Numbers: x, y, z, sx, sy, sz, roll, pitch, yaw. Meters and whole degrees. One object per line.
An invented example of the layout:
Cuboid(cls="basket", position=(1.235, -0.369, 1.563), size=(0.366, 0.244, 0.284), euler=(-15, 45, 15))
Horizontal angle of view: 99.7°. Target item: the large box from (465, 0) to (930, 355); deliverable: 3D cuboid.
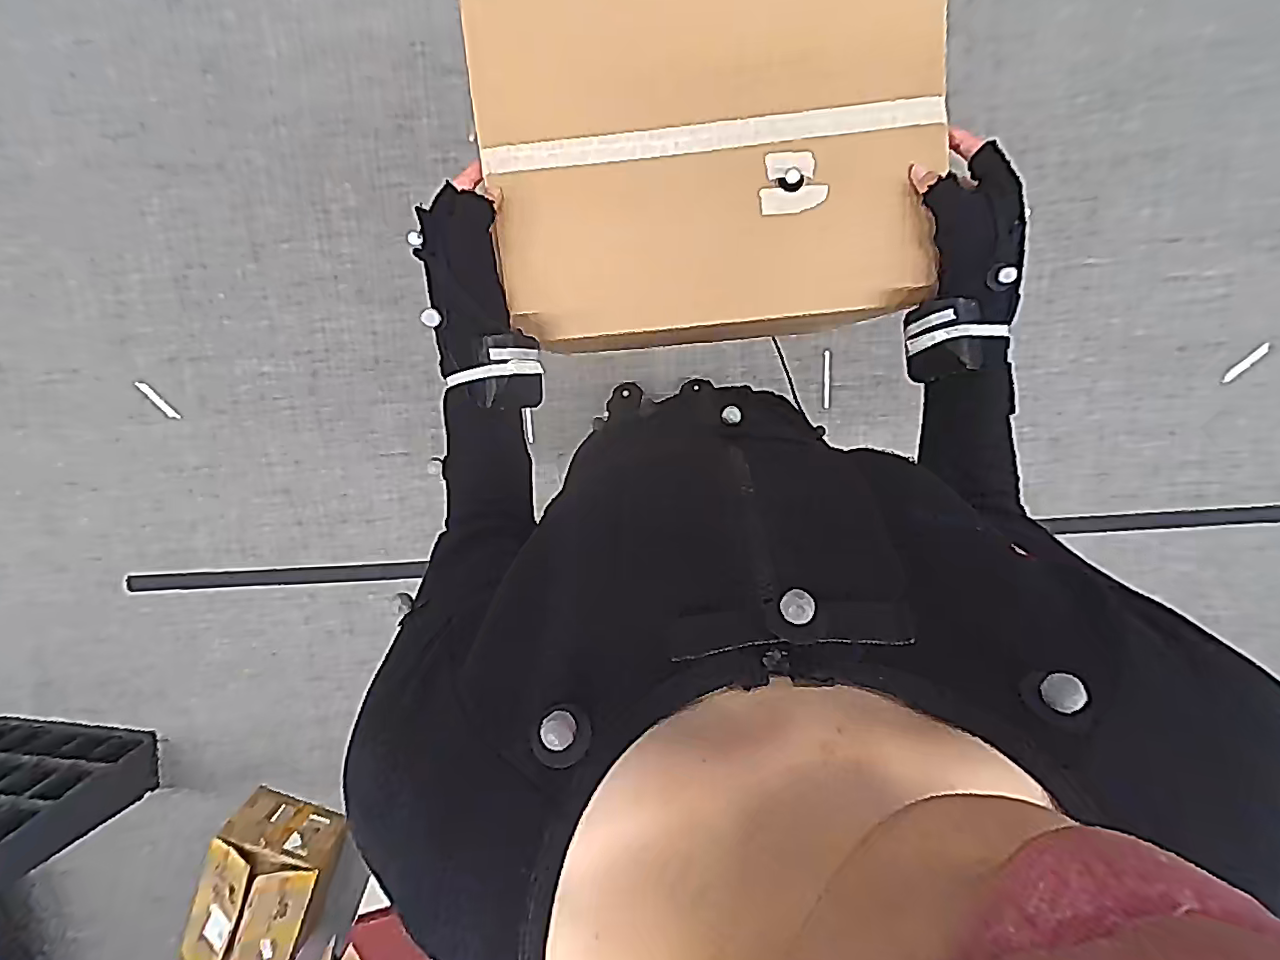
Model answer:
Cuboid(cls="large box", position=(0.059, -0.332, 0.633), size=(0.408, 0.320, 0.320), euler=(-5, 101, 1))
